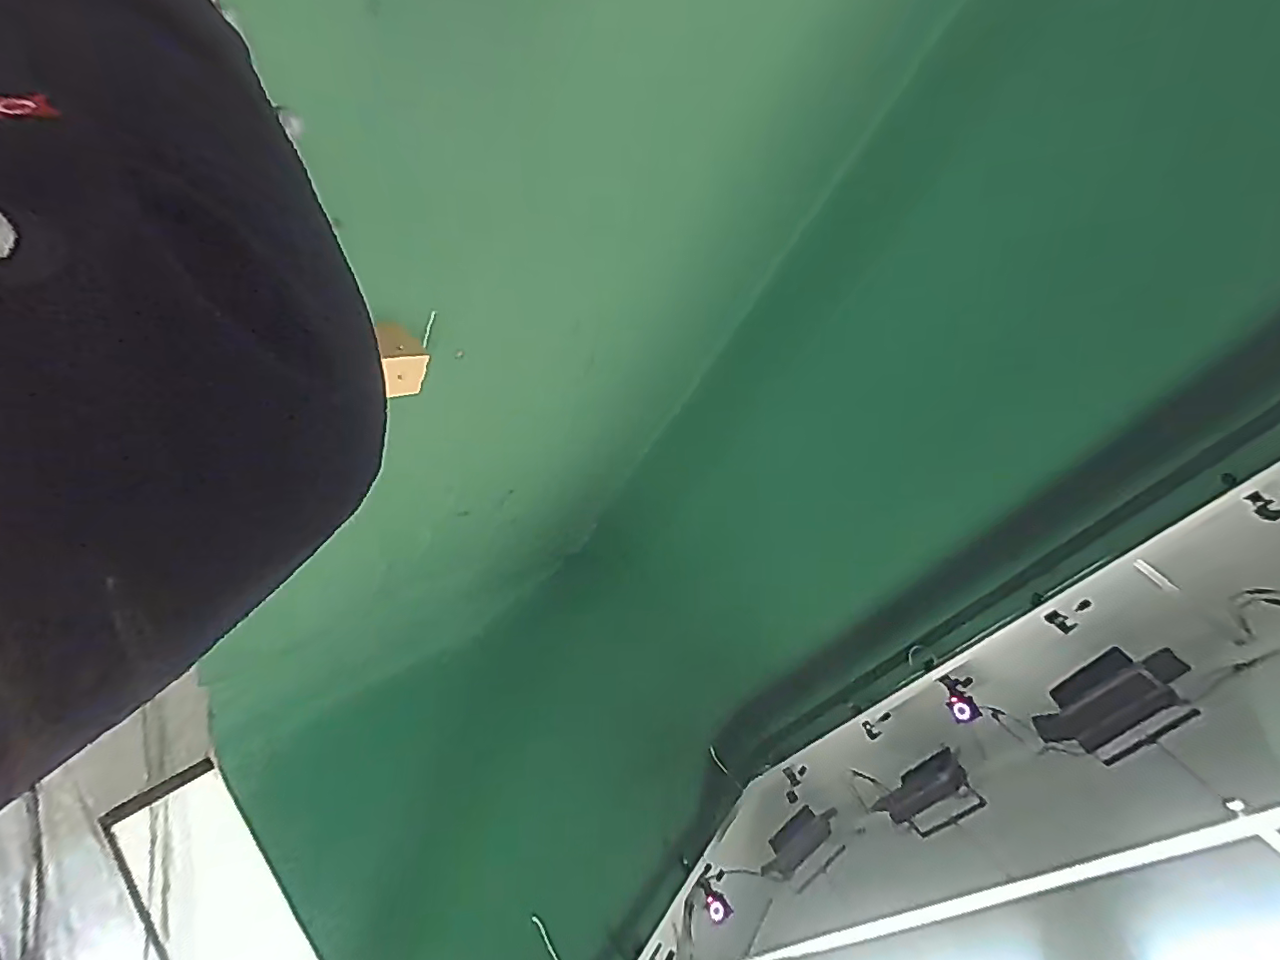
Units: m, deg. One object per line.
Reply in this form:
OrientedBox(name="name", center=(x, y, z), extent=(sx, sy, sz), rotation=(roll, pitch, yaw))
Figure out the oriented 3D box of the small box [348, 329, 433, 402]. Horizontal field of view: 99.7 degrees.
OrientedBox(name="small box", center=(-0.821, -0.381, 1.778), extent=(0.179, 0.176, 0.168), rotation=(-22, 151, -53))
